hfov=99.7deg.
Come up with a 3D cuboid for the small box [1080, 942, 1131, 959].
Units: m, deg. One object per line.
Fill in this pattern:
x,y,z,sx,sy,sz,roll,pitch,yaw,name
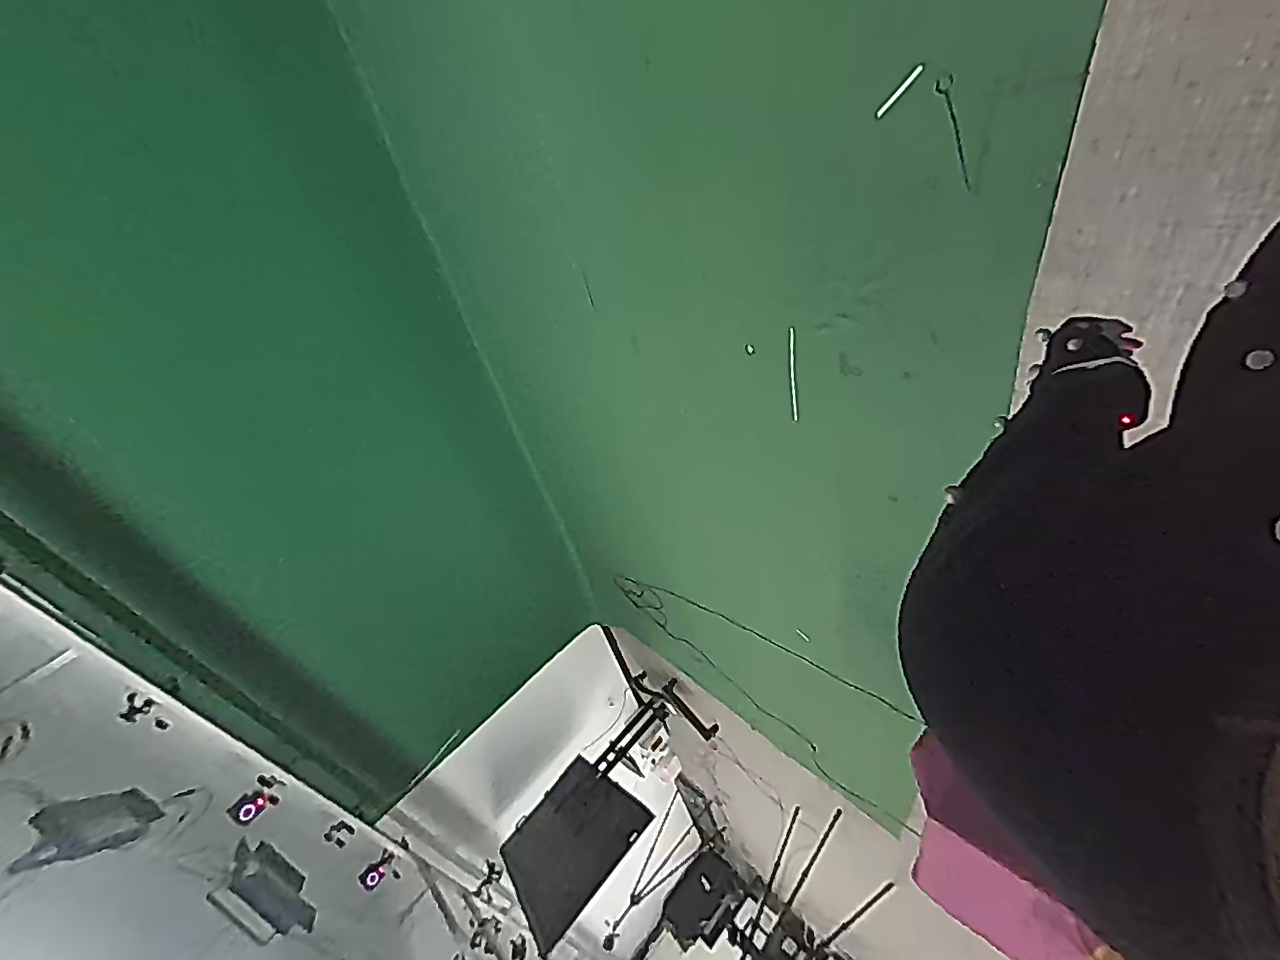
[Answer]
1.072,1.179,1.197,0.168,0.176,0.179,25,145,40,small box
